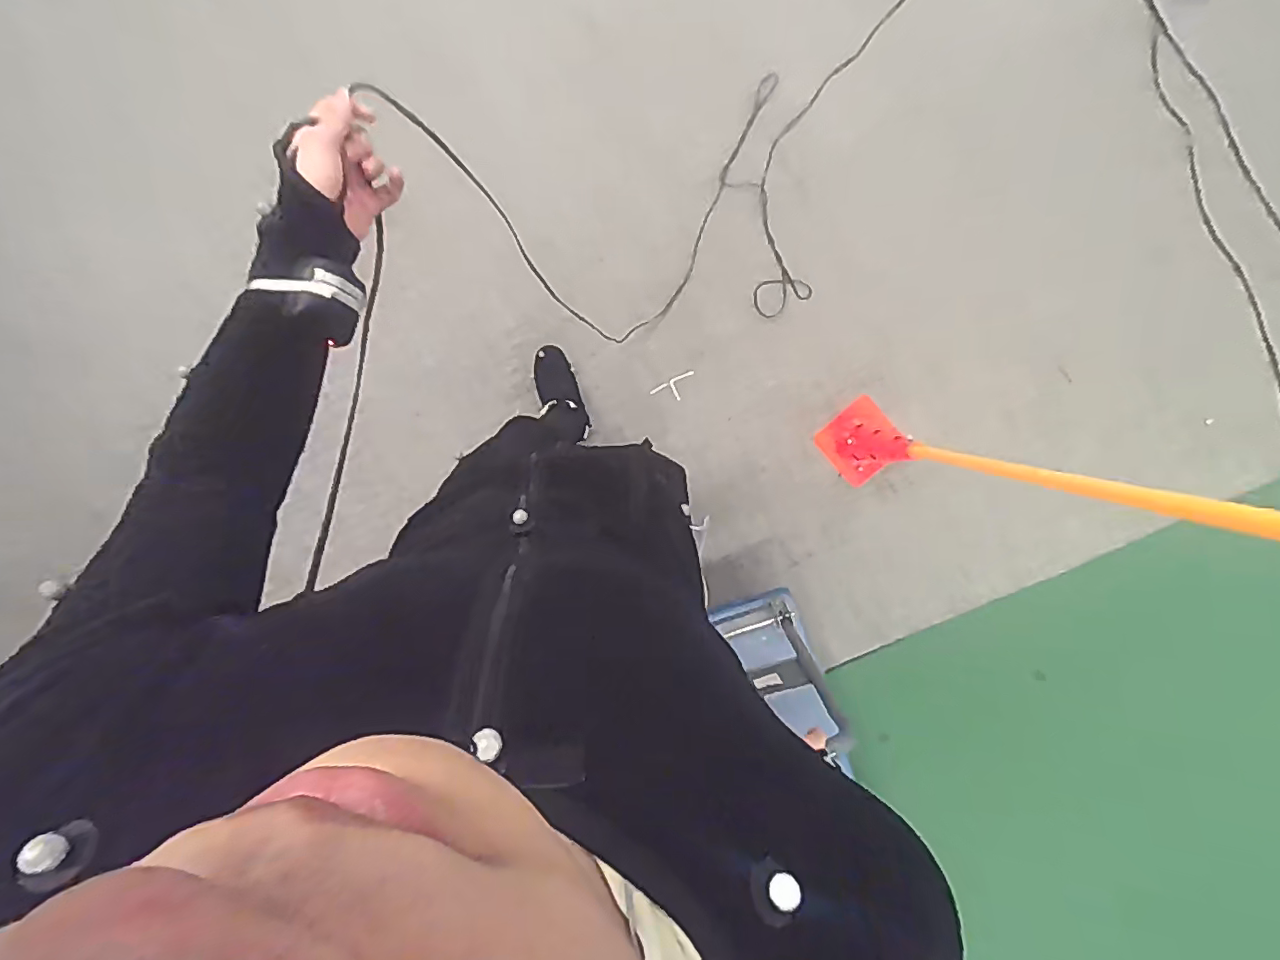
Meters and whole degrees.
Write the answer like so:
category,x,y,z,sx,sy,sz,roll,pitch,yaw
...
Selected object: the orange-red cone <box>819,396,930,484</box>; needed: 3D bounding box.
category,x,y,z,sx,sy,sz,roll,pitch,yaw
orange-red cone,0.634,-0.091,1.377,0.199,0.360,0.198,-40,95,5
